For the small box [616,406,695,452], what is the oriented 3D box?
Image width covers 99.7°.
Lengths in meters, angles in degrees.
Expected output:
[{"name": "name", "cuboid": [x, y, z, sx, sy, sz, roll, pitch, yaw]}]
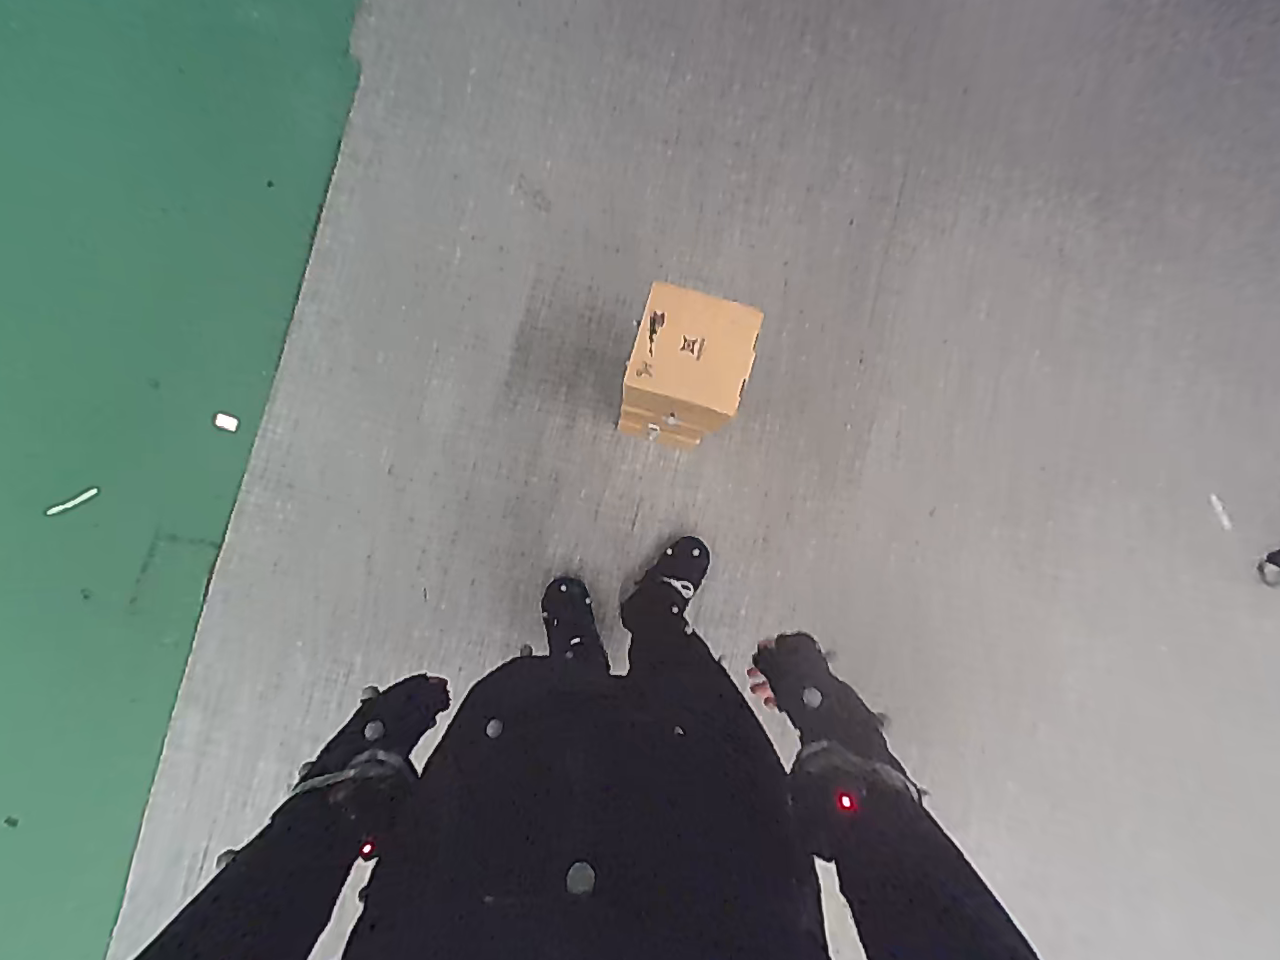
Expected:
[{"name": "small box", "cuboid": [0.049, -0.165, 1.230, 0.179, 0.176, 0.168, 15, 87, -2]}]

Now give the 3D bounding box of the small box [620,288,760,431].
[{"name": "small box", "cuboid": [0.073, -0.185, 0.890, 0.179, 0.176, 0.168, 17, 87, -1]}]

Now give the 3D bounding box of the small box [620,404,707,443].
[{"name": "small box", "cuboid": [0.060, -0.180, 1.053, 0.168, 0.176, 0.179, 14, 88, -1]}]
